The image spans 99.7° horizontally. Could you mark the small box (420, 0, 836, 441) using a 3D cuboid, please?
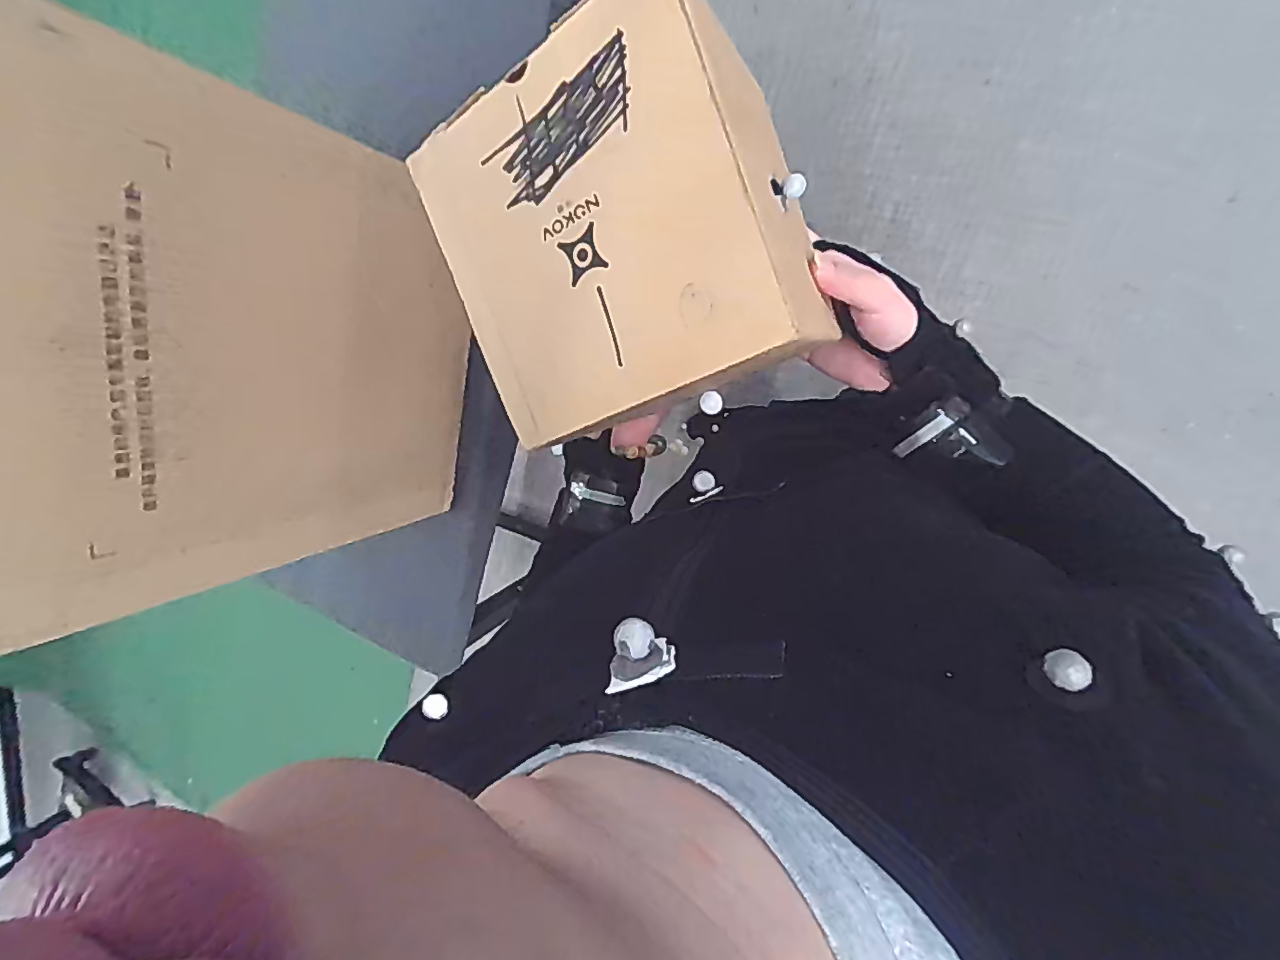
[{"bbox_3d":[0.008,-0.140,0.337,0.168,0.176,0.179,-18,95,30],"label":"small box"}]
